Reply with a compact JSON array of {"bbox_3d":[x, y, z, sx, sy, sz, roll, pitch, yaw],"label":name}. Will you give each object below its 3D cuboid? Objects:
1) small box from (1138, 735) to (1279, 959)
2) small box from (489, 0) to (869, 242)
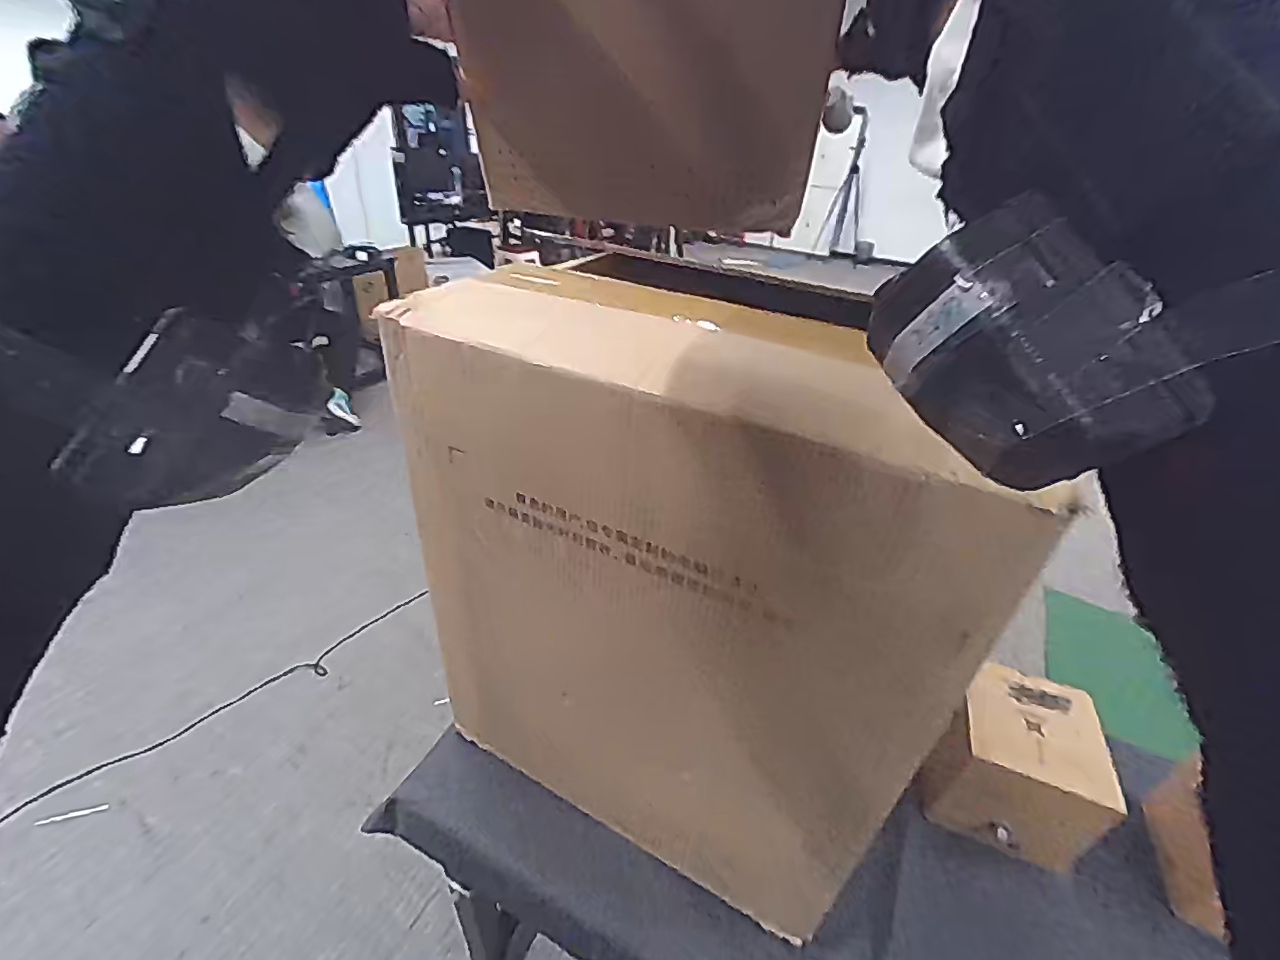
[{"bbox_3d":[0.787,0.468,0.673,0.179,0.176,0.168,19,36,20],"label":"small box"},{"bbox_3d":[0.027,-0.250,0.288,0.179,0.176,0.168,11,54,8],"label":"small box"}]
